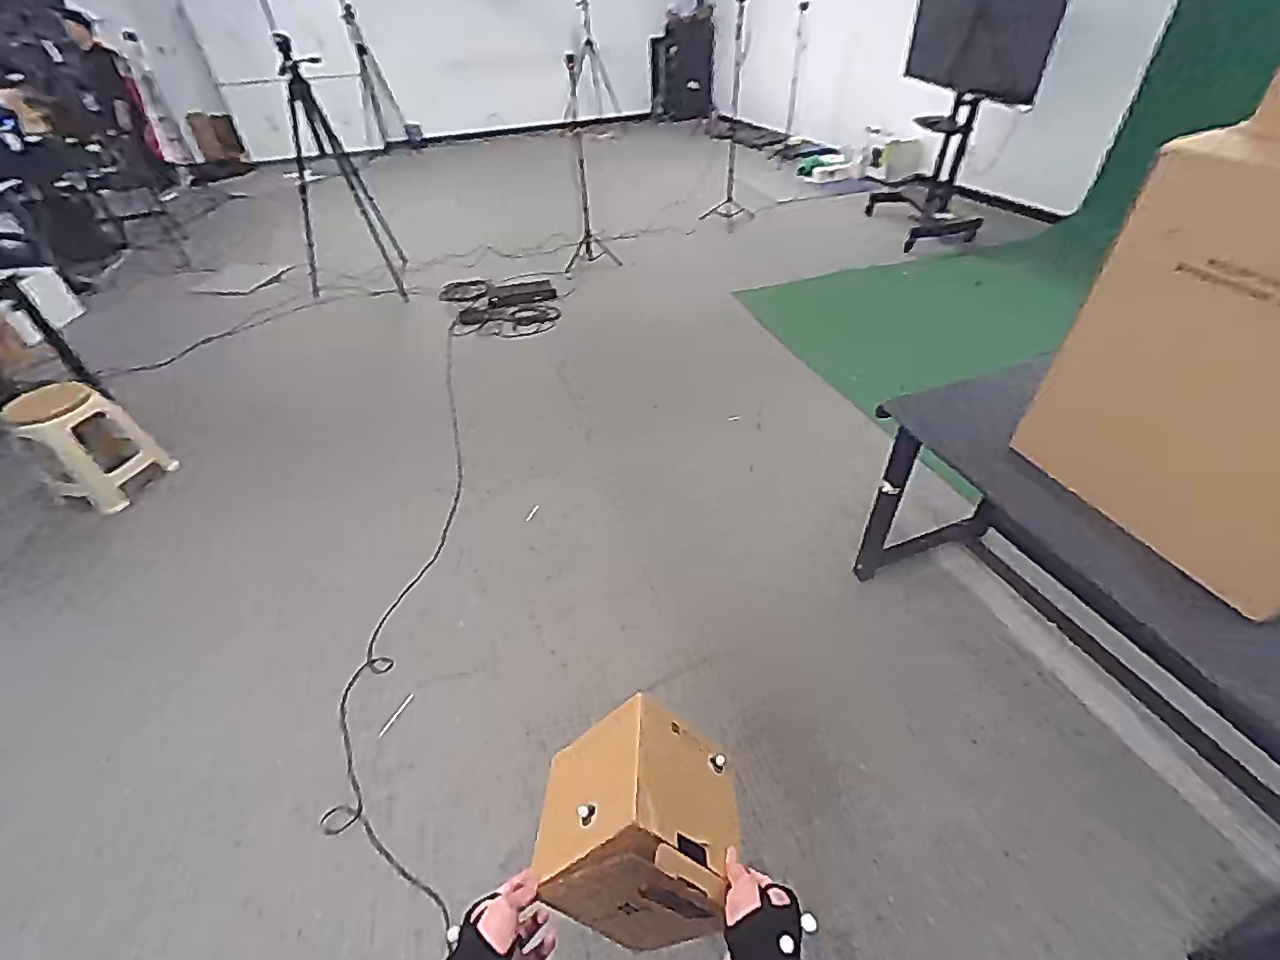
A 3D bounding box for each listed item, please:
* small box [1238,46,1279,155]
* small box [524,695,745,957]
[{"bbox_3d":[1.050,-0.574,0.782,0.179,0.176,0.168,-14,44,-8],"label":"small box"},{"bbox_3d":[-0.005,0.394,0.634,0.168,0.179,0.176,42,18,-13],"label":"small box"}]
